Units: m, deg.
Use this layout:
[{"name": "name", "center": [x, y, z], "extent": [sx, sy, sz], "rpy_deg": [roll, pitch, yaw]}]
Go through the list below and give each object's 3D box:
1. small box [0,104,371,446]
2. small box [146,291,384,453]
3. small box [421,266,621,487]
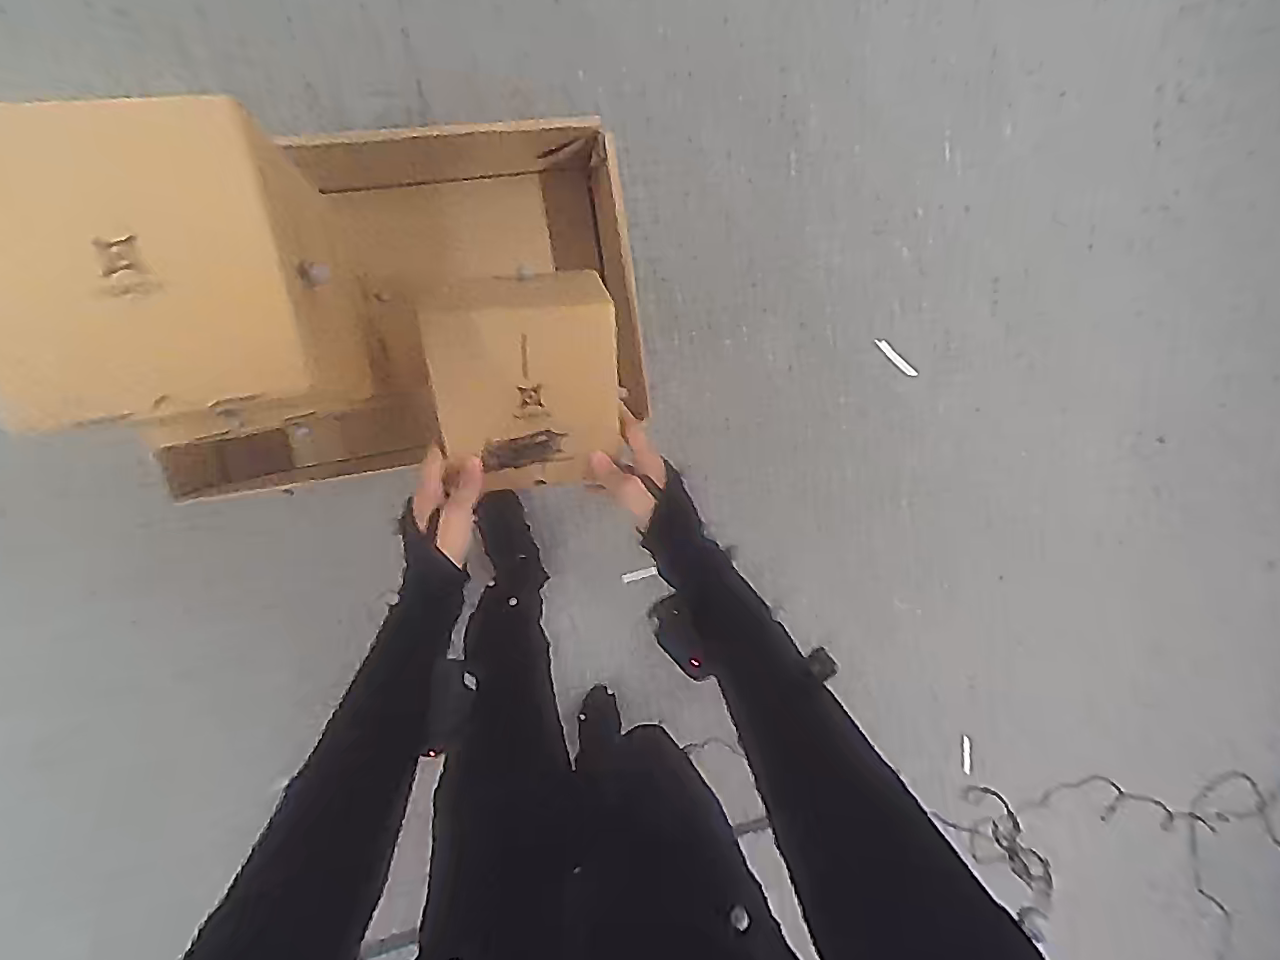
[{"name": "small box", "center": [-0.314, -0.130, 0.387], "extent": [0.168, 0.176, 0.179], "rpy_deg": [-13, 102, -13]}, {"name": "small box", "center": [-0.378, -0.136, 0.539], "extent": [0.168, 0.176, 0.179], "rpy_deg": [-16, 103, -12]}, {"name": "small box", "center": [-0.112, -0.114, 0.562], "extent": [0.168, 0.176, 0.179], "rpy_deg": [-6, 121, -9]}]
